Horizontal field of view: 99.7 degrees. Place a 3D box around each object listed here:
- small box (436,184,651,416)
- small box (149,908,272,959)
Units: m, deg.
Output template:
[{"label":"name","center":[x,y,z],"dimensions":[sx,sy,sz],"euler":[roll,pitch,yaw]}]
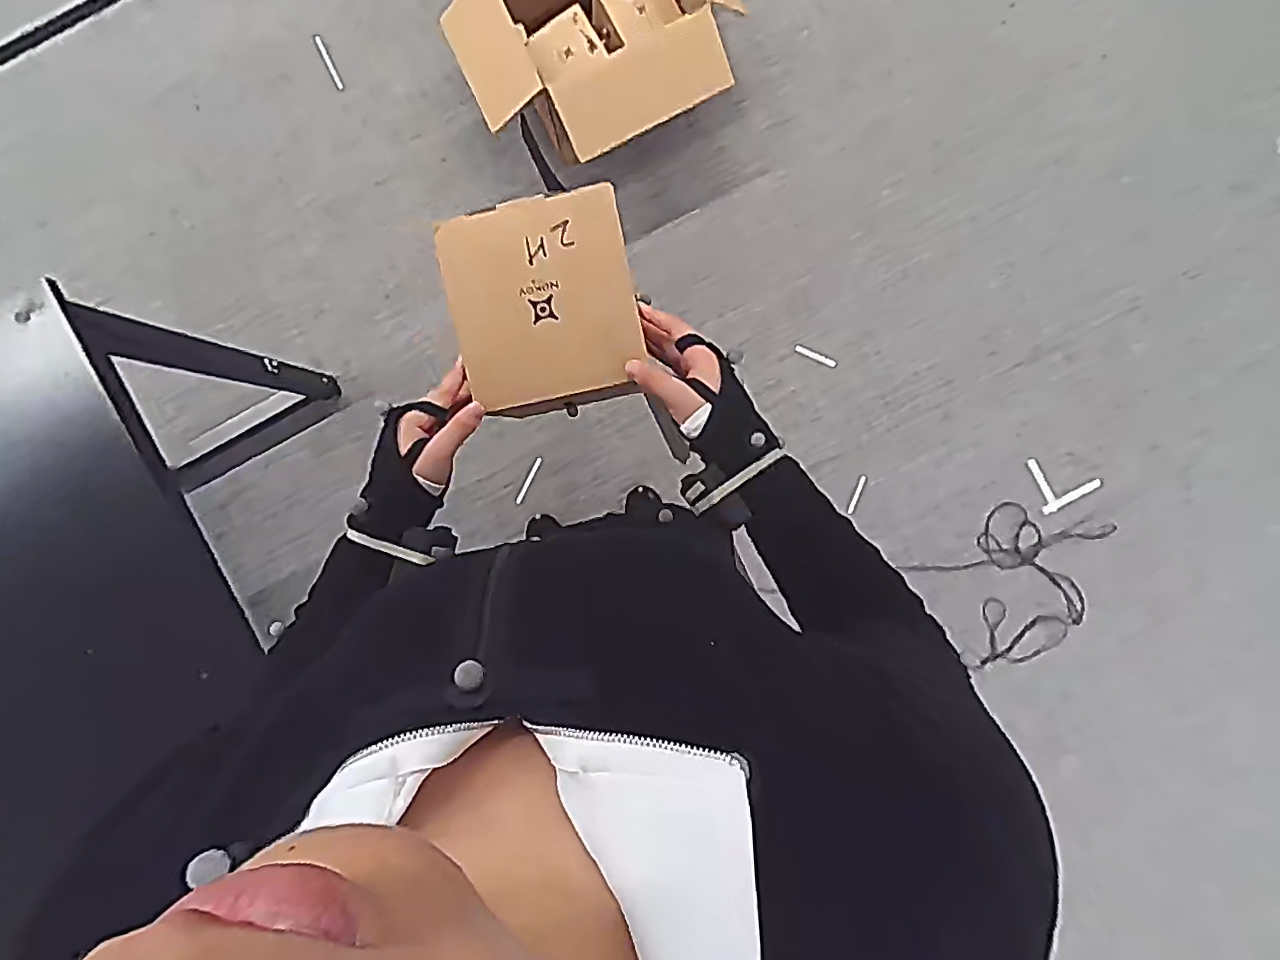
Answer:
[{"label":"small box","center":[-0.082,-0.167,0.561],"dimensions":[0.168,0.176,0.179],"euler":[-12,95,2]},{"label":"small box","center":[-0.607,0.721,0.704],"dimensions":[0.179,0.176,0.168],"euler":[-32,89,2]}]
